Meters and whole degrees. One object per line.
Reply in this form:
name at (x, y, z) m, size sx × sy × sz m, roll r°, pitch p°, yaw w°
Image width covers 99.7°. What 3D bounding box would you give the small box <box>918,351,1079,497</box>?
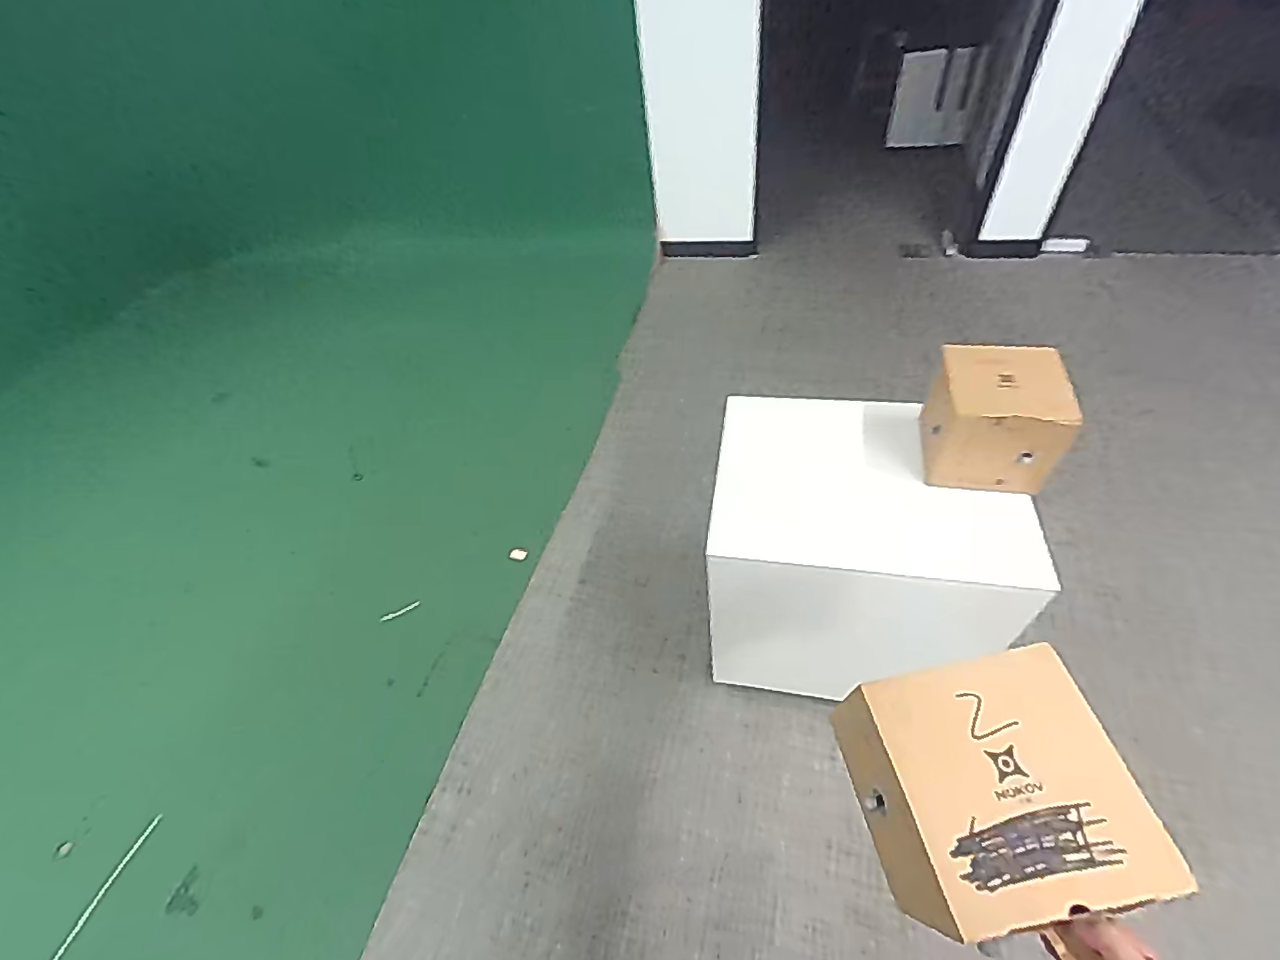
small box at (0.572, -0.091, 0.891) m, size 0.168 × 0.176 × 0.179 m, roll 6°, pitch 50°, yaw 14°
